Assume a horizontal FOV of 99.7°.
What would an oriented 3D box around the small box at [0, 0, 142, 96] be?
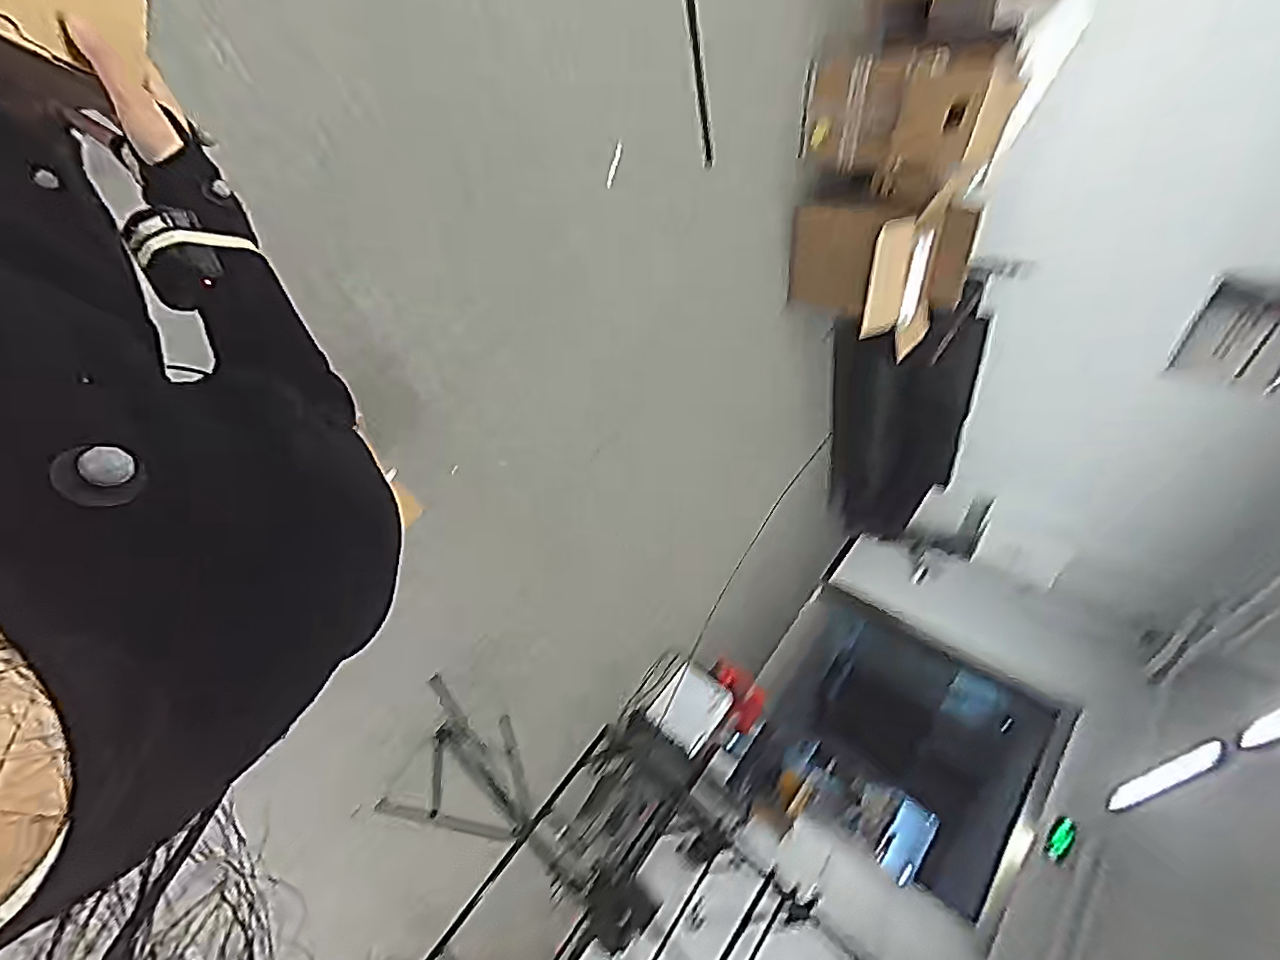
[{"bbox_3d":[-0.490,-0.396,0.362,0.168,0.176,0.179,-24,120,-76],"label":"small box"}]
